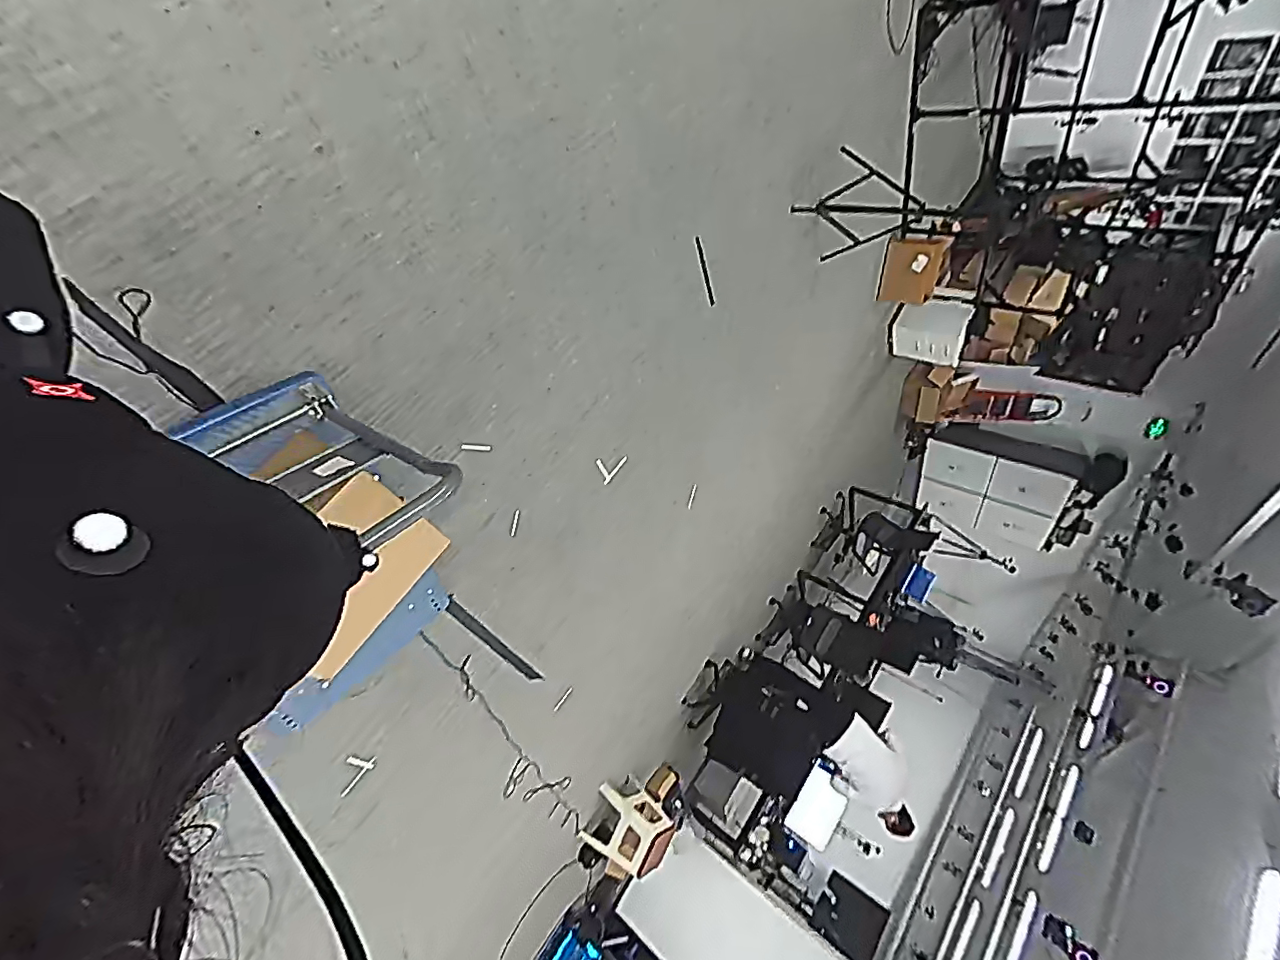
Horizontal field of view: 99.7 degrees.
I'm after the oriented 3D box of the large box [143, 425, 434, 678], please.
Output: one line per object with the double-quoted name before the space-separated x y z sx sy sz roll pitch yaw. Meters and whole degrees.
"large box" -0.766 0.151 1.217 0.408 0.320 0.320 -52 143 -19
